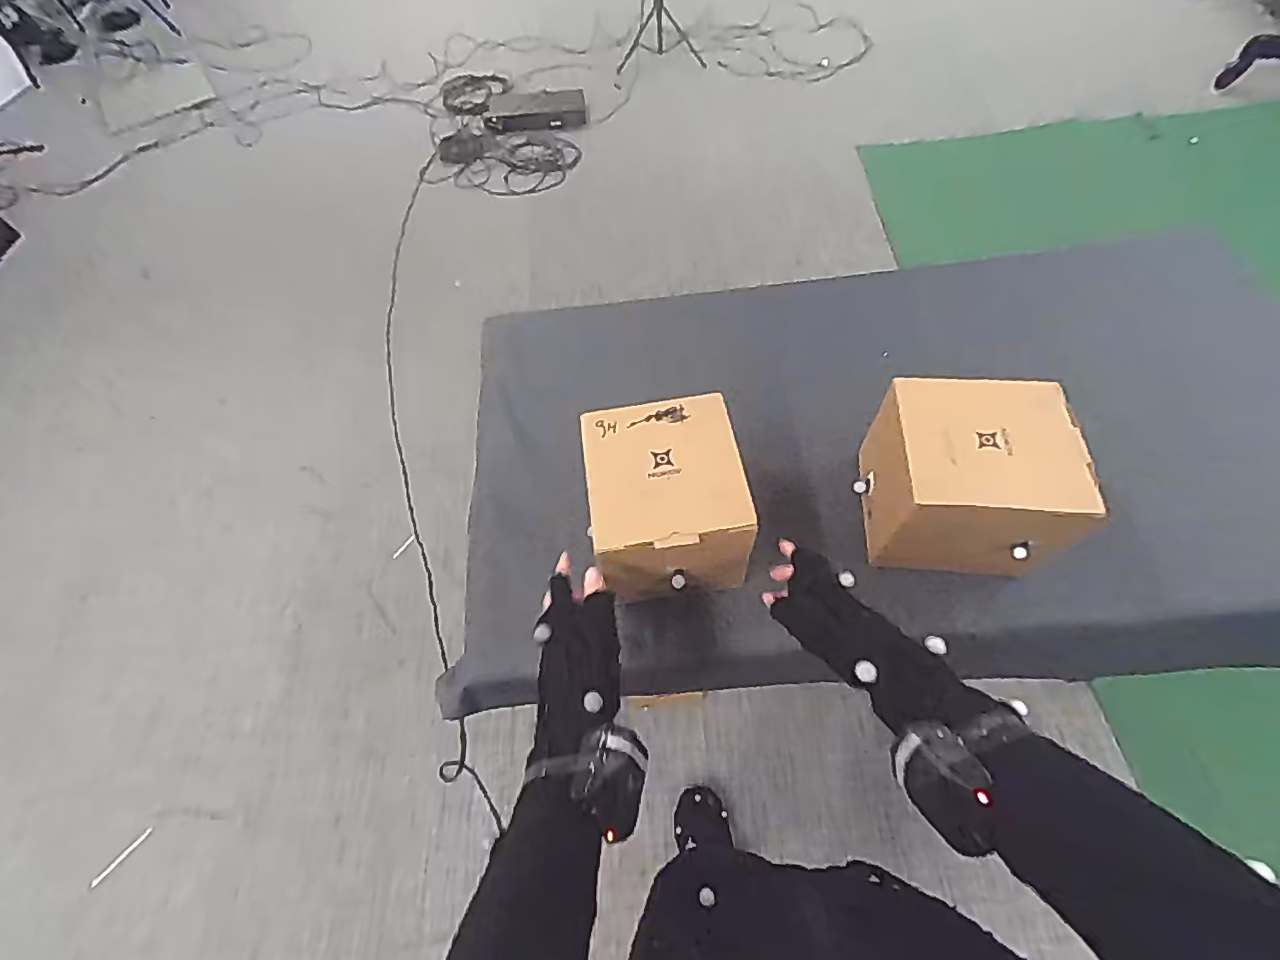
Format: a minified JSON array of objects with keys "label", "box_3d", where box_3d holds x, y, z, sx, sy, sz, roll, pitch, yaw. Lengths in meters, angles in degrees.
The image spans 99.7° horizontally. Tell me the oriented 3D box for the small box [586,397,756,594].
[{"label":"small box","box_3d":[0.033,0.029,0.649,0.168,0.176,0.179,-8,60,0]}]
